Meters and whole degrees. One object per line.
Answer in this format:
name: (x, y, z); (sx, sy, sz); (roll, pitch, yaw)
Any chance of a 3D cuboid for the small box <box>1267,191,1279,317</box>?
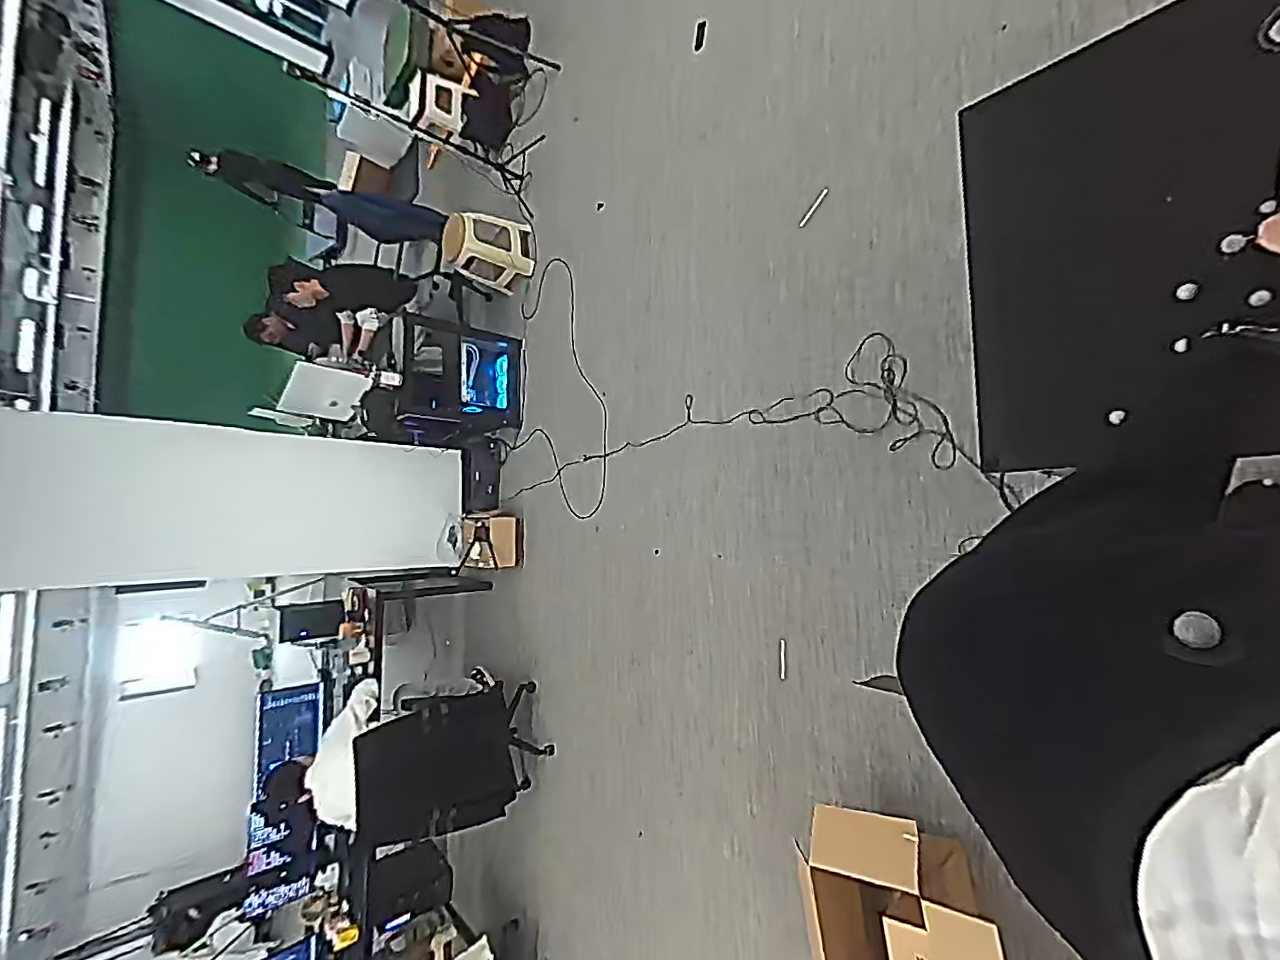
small box: (0.727, -0.263, 0.509); (0.168, 0.176, 0.179); (6, 93, 48)
